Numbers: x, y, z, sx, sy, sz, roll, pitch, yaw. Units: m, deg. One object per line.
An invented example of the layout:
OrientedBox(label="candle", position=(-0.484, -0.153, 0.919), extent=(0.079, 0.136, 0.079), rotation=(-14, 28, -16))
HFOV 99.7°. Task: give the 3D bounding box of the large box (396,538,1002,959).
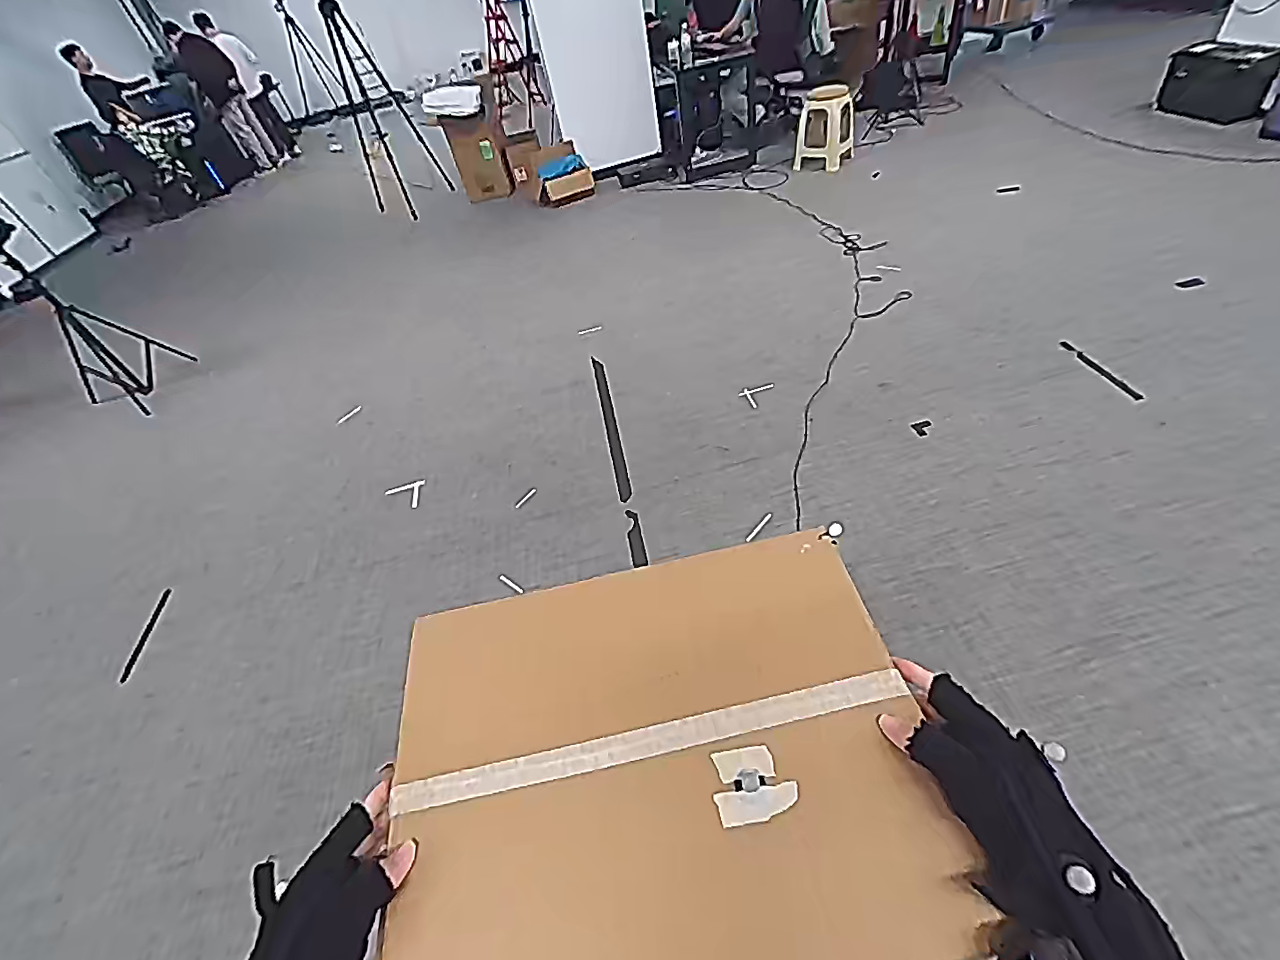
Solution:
OrientedBox(label="large box", position=(0.031, 0.309, 0.543), extent=(0.408, 0.320, 0.320), rotation=(-13, 49, -1))
